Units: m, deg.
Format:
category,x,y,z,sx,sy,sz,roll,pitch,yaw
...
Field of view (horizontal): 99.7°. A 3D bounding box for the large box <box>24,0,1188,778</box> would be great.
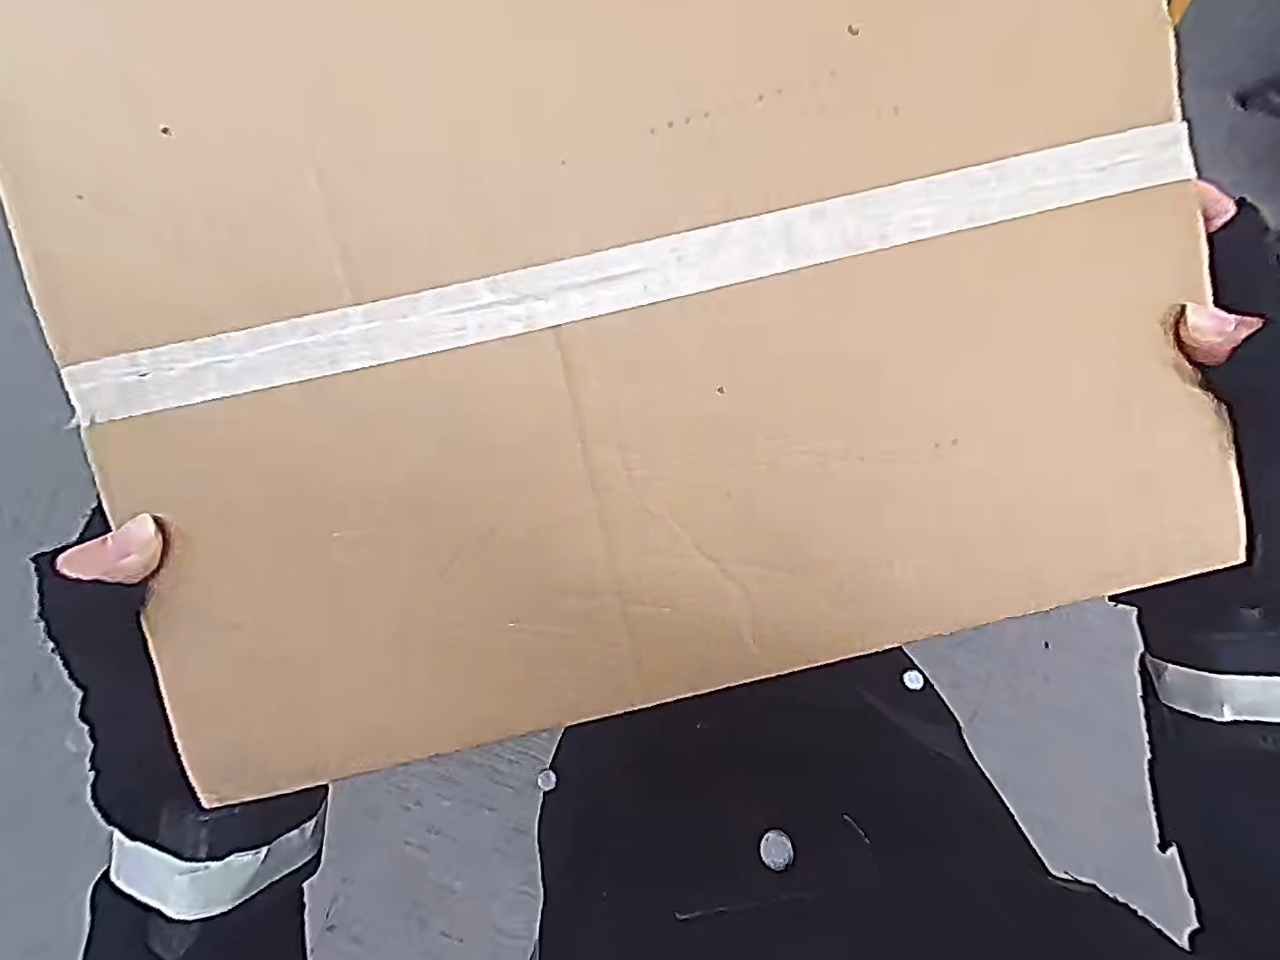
category,x,y,z,sx,sy,sz,roll,pitch,yaw
large box,0.001,-0.084,0.356,0.408,0.320,0.320,-12,94,-1
